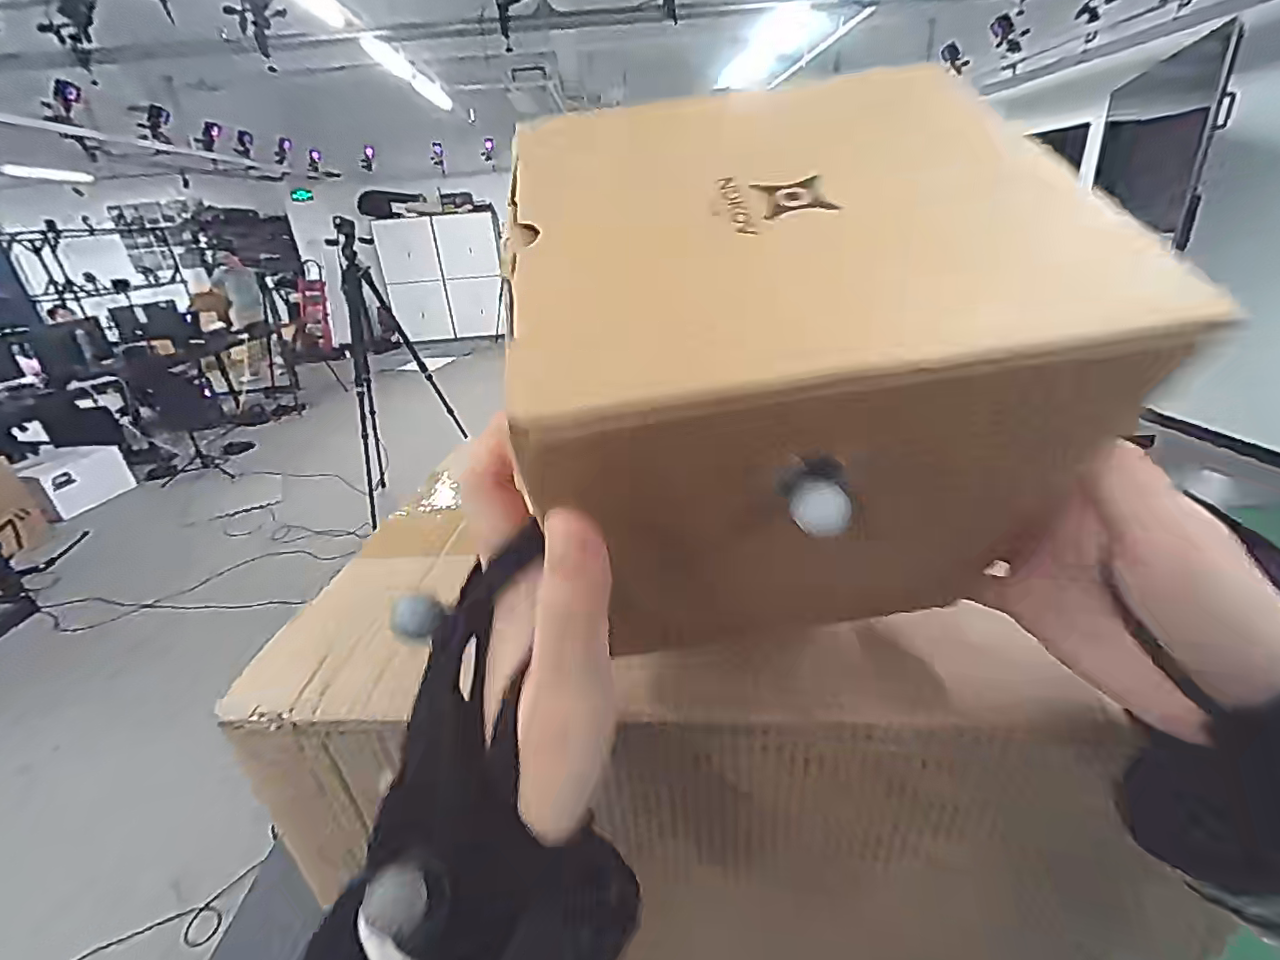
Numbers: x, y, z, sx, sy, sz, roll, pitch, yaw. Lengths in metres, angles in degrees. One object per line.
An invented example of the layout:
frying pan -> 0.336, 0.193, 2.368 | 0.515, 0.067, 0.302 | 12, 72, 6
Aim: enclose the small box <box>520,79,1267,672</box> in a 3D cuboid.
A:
small box -> 0.055, -0.030, 0.232 | 0.179, 0.176, 0.168 | -9, 56, 0
